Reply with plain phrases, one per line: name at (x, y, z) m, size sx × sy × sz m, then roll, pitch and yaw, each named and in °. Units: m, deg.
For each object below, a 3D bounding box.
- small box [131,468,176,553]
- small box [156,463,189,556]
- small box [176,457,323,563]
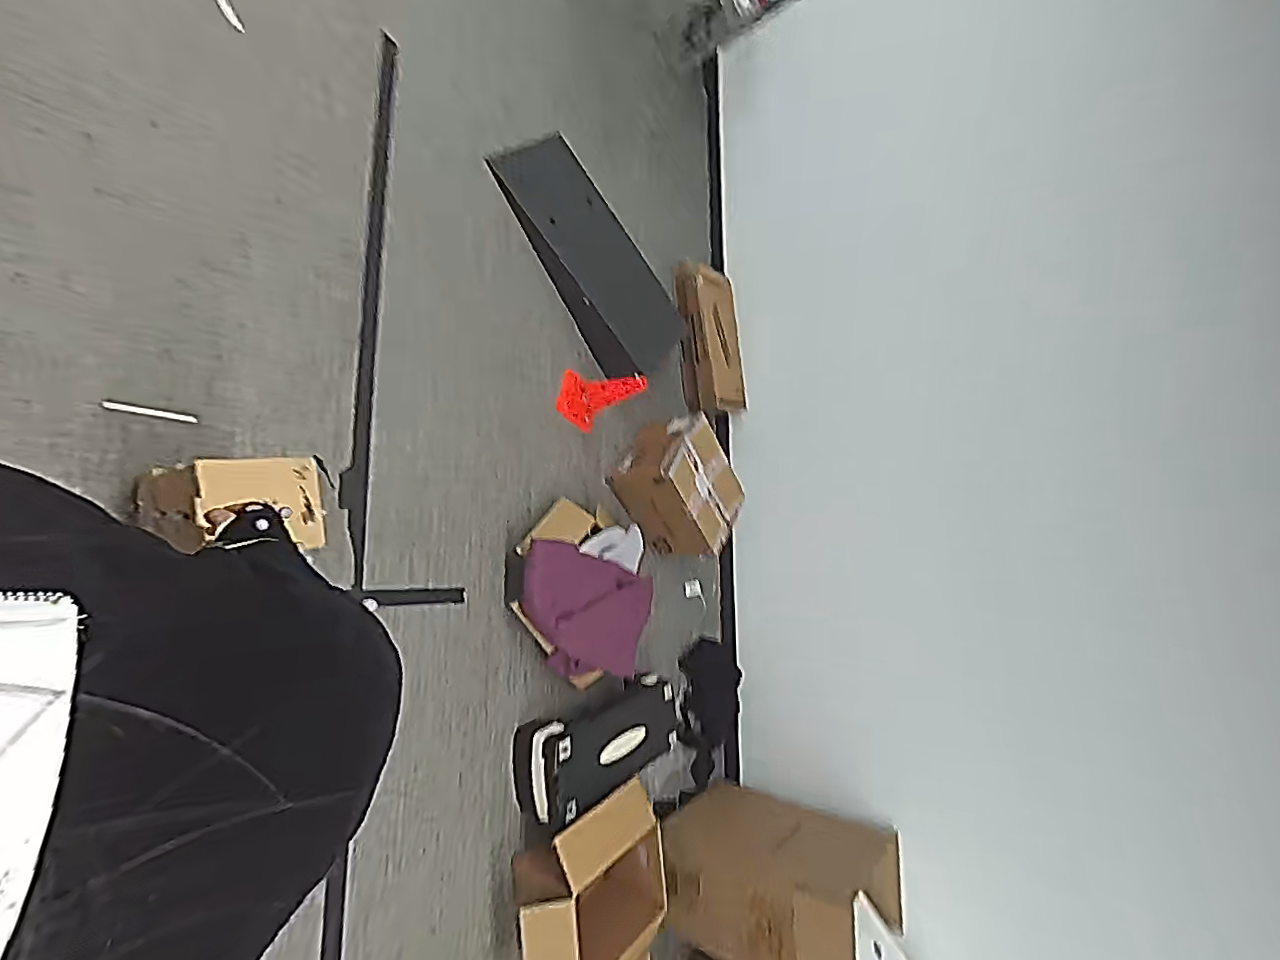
small box at (-0.957, 0.071, 1.160) m, size 0.179 × 0.176 × 0.168 m, roll 5°, pitch 79°, yaw -49°
small box at (-0.821, 0.058, 1.066) m, size 0.179 × 0.176 × 0.168 m, roll -2°, pitch 84°, yaw -51°
small box at (-0.696, 0.053, 0.959) m, size 0.179 × 0.176 × 0.168 m, roll -5°, pitch 87°, yaw -51°
